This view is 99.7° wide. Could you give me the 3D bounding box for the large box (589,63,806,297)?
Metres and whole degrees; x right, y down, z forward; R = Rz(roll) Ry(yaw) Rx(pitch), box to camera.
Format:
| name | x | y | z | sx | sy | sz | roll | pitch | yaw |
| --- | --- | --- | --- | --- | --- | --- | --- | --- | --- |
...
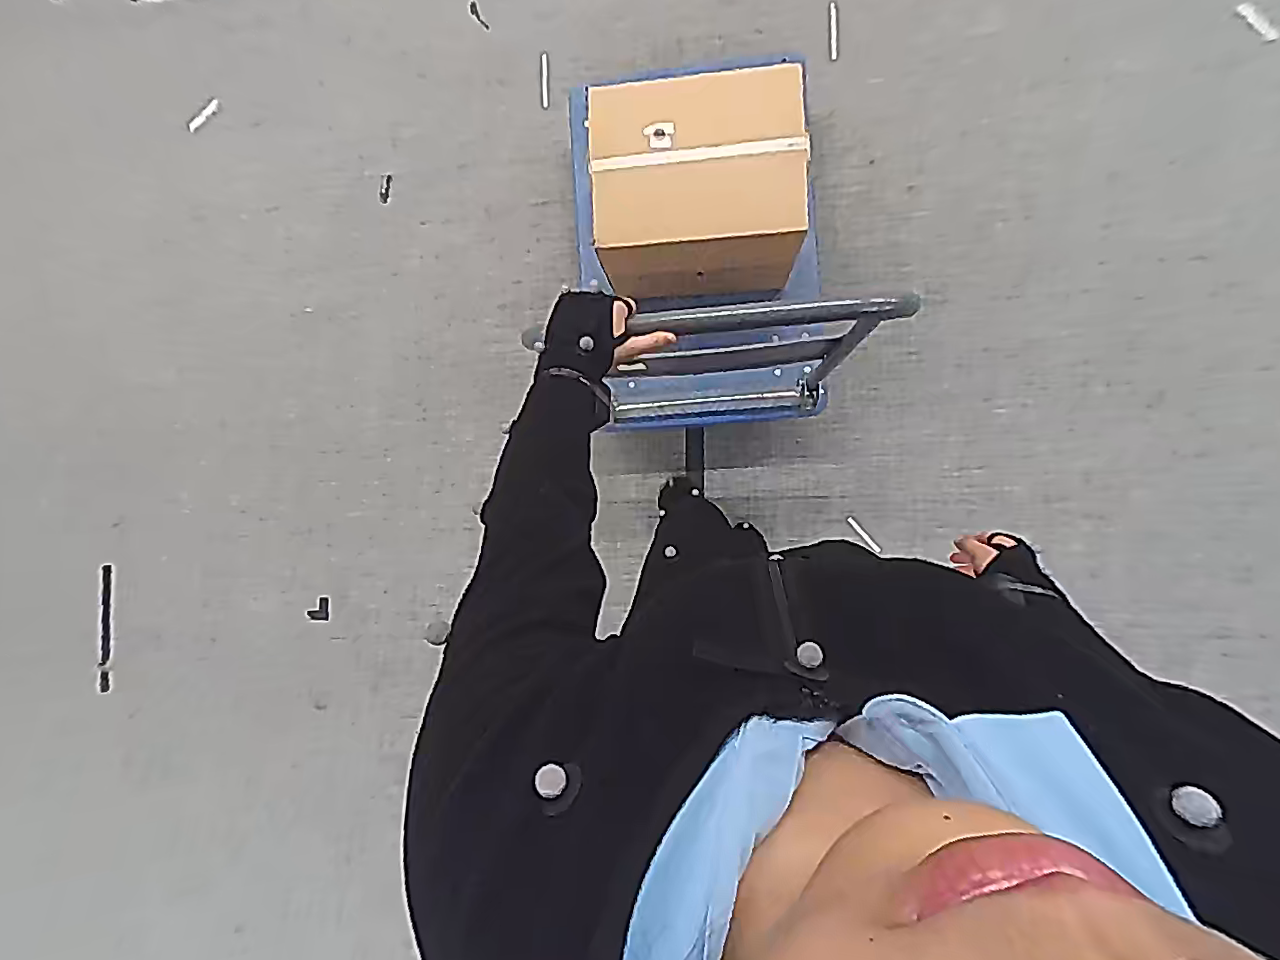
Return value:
| name | x | y | z | sx | sy | sz | roll | pitch | yaw |
| --- | --- | --- | --- | --- | --- | --- | --- | --- | --- |
| large box | 0.125 | -0.613 | 1.177 | 0.408 | 0.320 | 0.320 | -3 | 89 | 8 |
